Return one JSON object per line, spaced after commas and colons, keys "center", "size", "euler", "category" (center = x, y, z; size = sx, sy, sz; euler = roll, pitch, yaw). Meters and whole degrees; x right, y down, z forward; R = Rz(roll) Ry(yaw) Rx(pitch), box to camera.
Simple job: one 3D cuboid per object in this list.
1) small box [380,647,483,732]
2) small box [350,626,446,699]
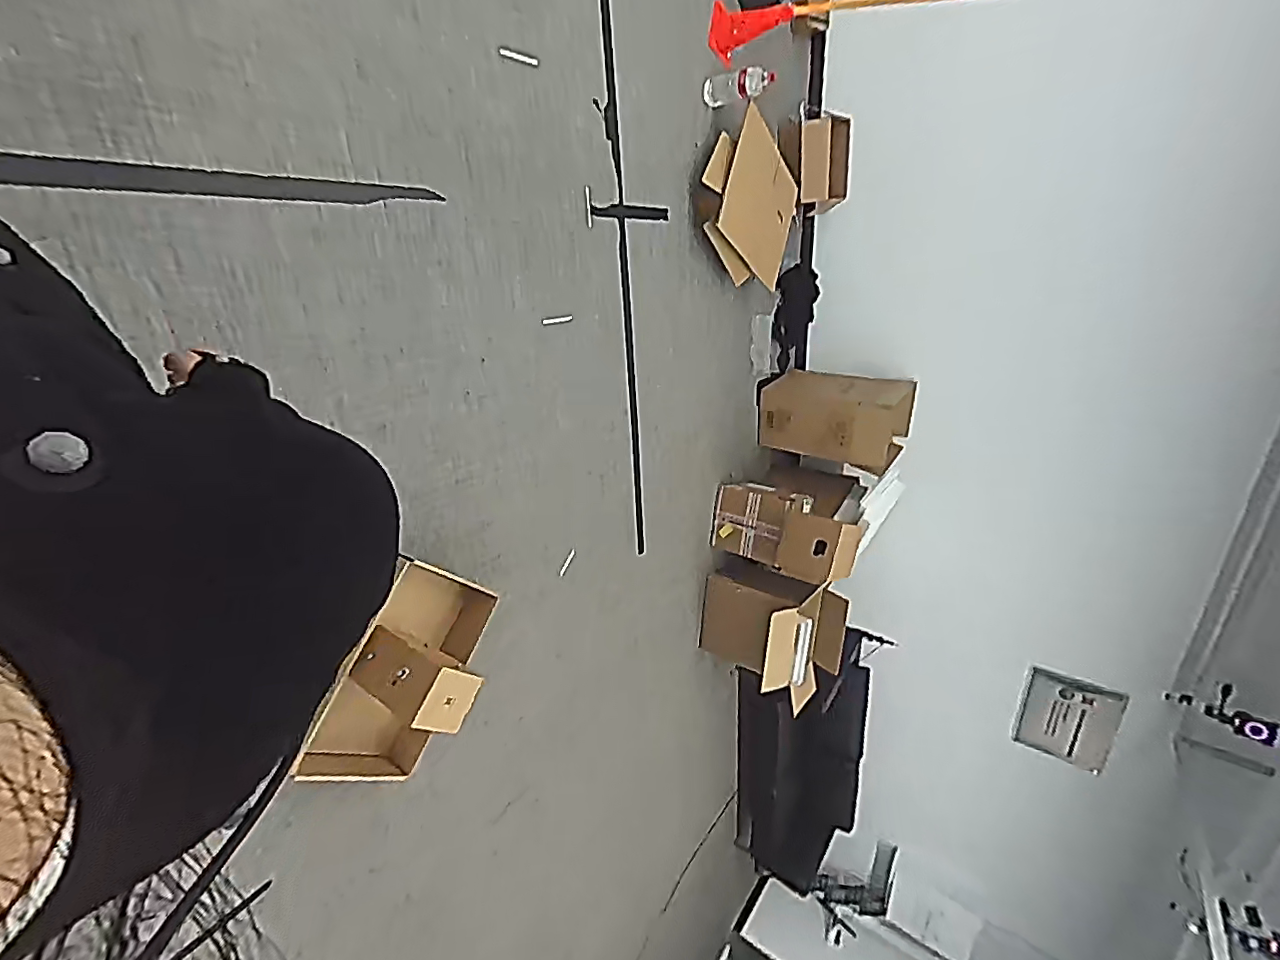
{"center": [-0.592, 0.593, 1.538], "size": [0.179, 0.176, 0.168], "euler": [46, 63, -50], "category": "small box"}
{"center": [-0.722, 0.560, 1.629], "size": [0.179, 0.176, 0.168], "euler": [48, 61, -50], "category": "small box"}
